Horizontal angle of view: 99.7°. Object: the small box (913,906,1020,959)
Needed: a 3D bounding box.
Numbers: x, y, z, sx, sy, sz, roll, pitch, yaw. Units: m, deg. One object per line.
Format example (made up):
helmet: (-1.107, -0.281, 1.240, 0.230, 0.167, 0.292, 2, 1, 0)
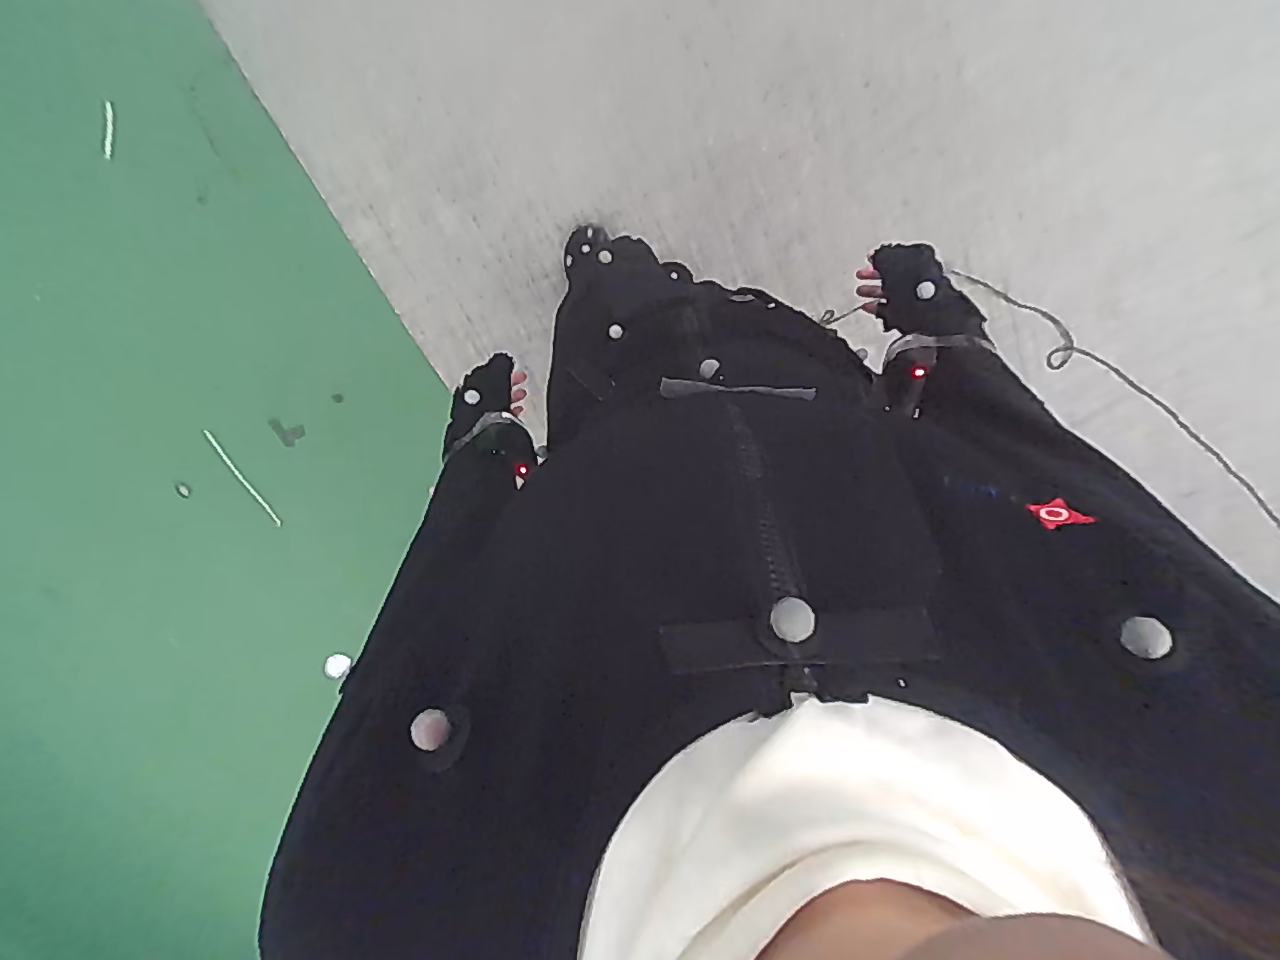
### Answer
small box: (0.662, 0.974, 1.045, 0.168, 0.176, 0.179, -26, 112, 11)
